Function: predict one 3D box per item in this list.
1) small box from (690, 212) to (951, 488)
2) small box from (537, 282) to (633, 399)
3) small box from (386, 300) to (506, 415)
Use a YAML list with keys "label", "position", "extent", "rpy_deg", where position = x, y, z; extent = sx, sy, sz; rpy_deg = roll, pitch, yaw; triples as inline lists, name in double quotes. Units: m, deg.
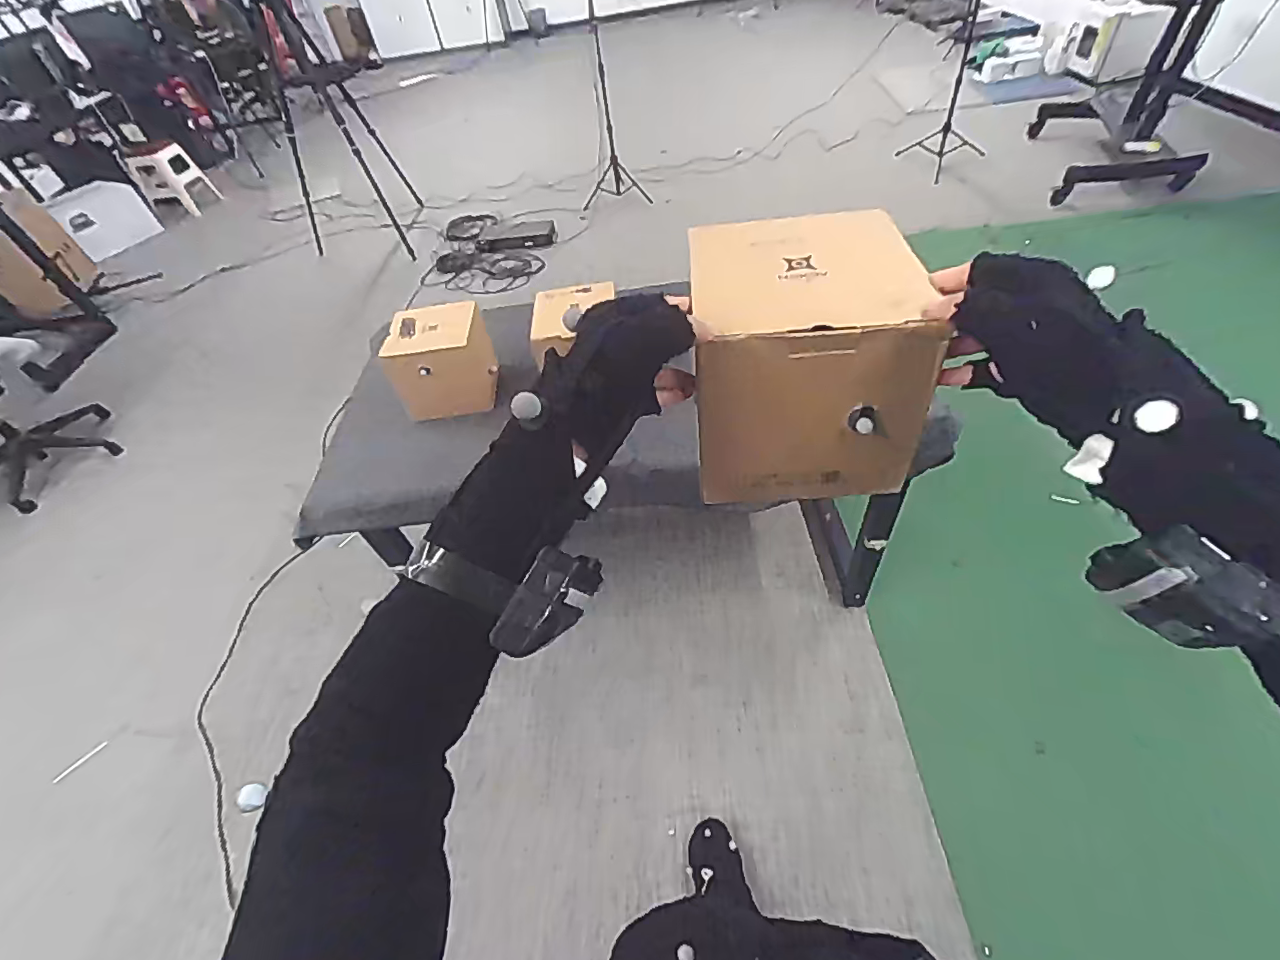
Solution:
- label: "small box"
  position: [0.131, -0.105, 0.466]
  extent: [0.168, 0.176, 0.179]
  rpy_deg: [-3, 46, 5]
- label: "small box"
  position: [-0.108, -0.283, 1.127]
  extent: [0.168, 0.176, 0.179]
  rpy_deg: [-6, 49, 3]
- label: "small box"
  position: [-0.399, -0.254, 1.146]
  extent: [0.179, 0.176, 0.168]
  rpy_deg: [-7, 49, 1]
